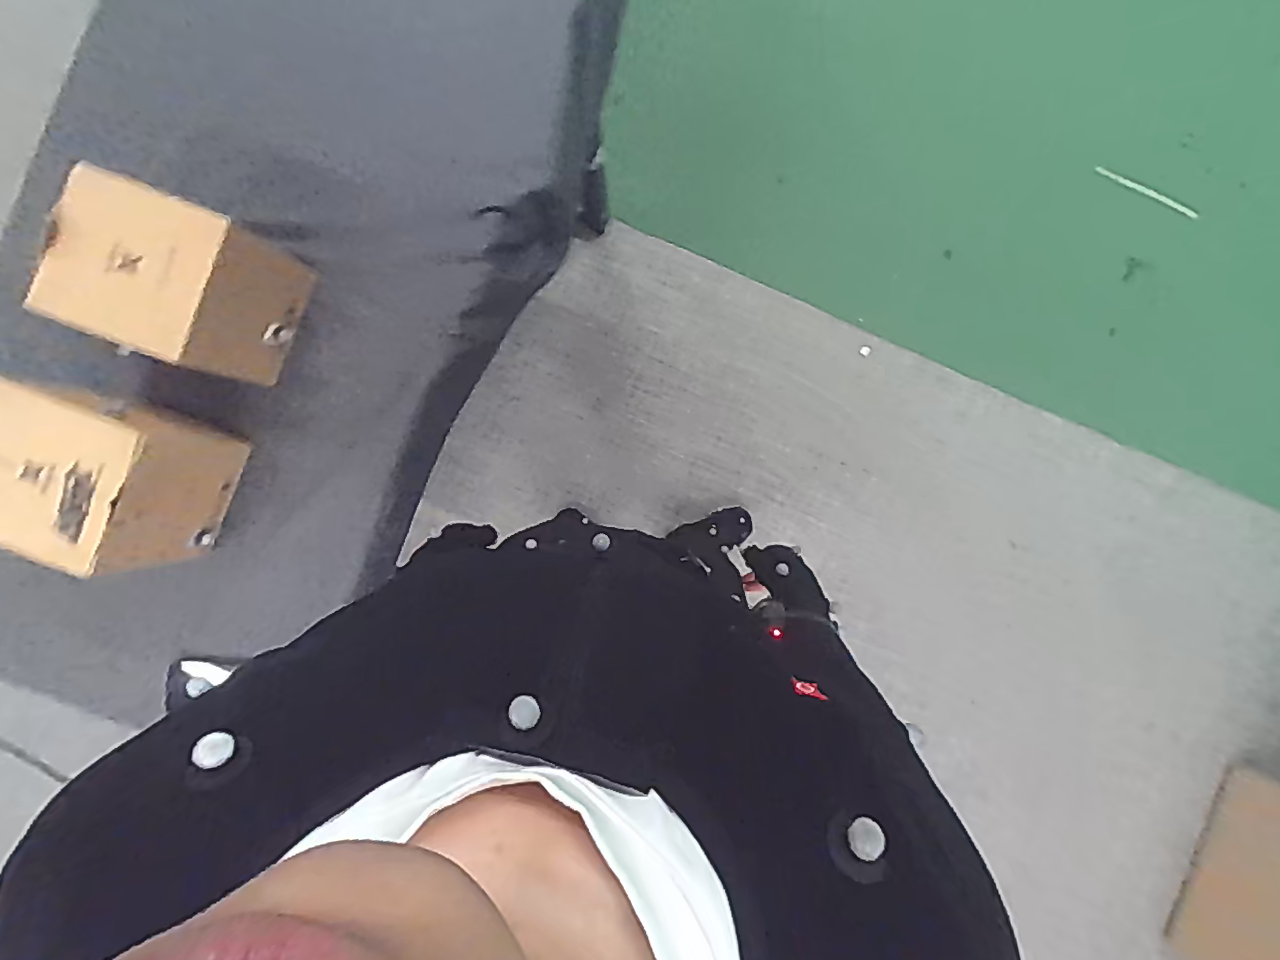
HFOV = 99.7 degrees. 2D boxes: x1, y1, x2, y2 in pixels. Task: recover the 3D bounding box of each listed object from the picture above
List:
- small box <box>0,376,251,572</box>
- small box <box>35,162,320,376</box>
[{"bbox_3d":[-0.627,-0.008,0.654,0.179,0.176,0.168,21,90,0],"label":"small box"},{"bbox_3d":[-0.539,-0.237,0.658,0.179,0.176,0.168,20,91,-2],"label":"small box"}]
